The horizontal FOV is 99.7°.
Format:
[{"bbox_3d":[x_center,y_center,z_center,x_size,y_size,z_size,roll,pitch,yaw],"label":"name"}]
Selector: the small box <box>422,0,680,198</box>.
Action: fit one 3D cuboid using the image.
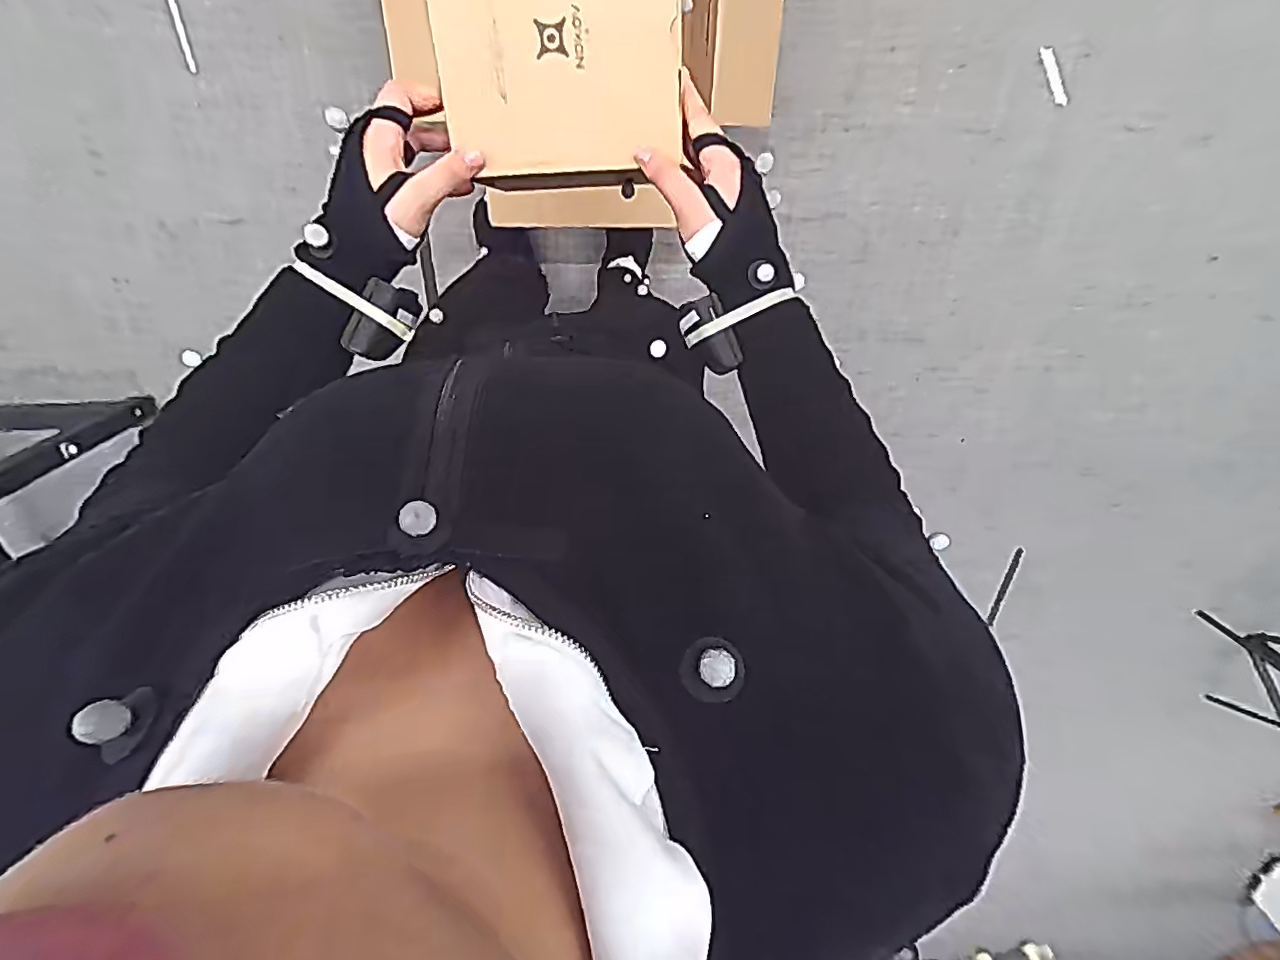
[{"bbox_3d":[-0.062,-0.339,0.453,0.179,0.176,0.168,-3,113,2],"label":"small box"}]
